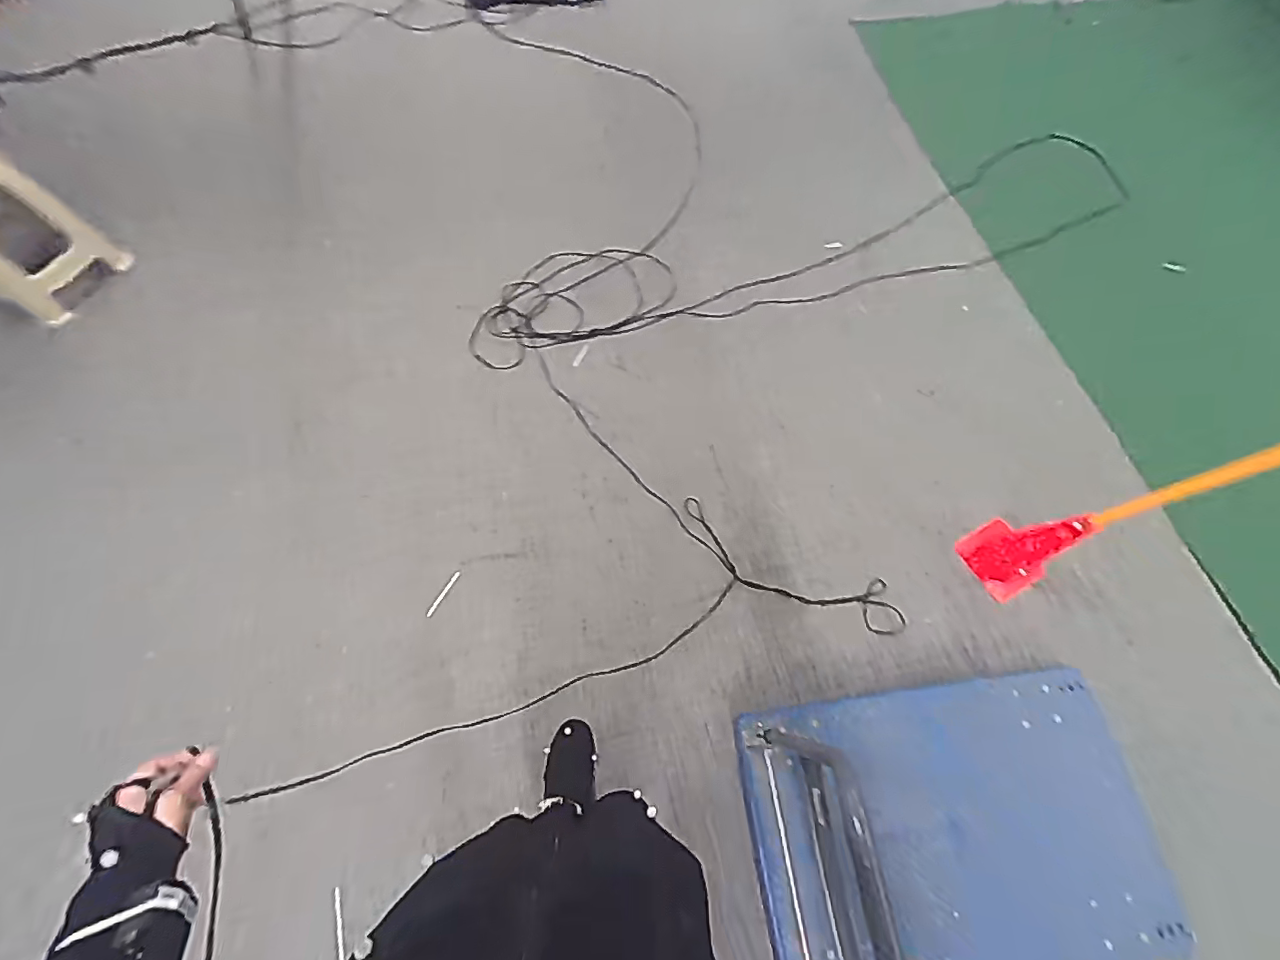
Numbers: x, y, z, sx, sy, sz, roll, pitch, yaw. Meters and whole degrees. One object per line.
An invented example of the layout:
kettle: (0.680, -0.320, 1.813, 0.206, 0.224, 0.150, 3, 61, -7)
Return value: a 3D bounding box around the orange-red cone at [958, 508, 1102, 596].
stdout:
orange-red cone: (1.077, 0.154, 1.453, 0.198, 0.360, 0.199, -26, 69, -14)
